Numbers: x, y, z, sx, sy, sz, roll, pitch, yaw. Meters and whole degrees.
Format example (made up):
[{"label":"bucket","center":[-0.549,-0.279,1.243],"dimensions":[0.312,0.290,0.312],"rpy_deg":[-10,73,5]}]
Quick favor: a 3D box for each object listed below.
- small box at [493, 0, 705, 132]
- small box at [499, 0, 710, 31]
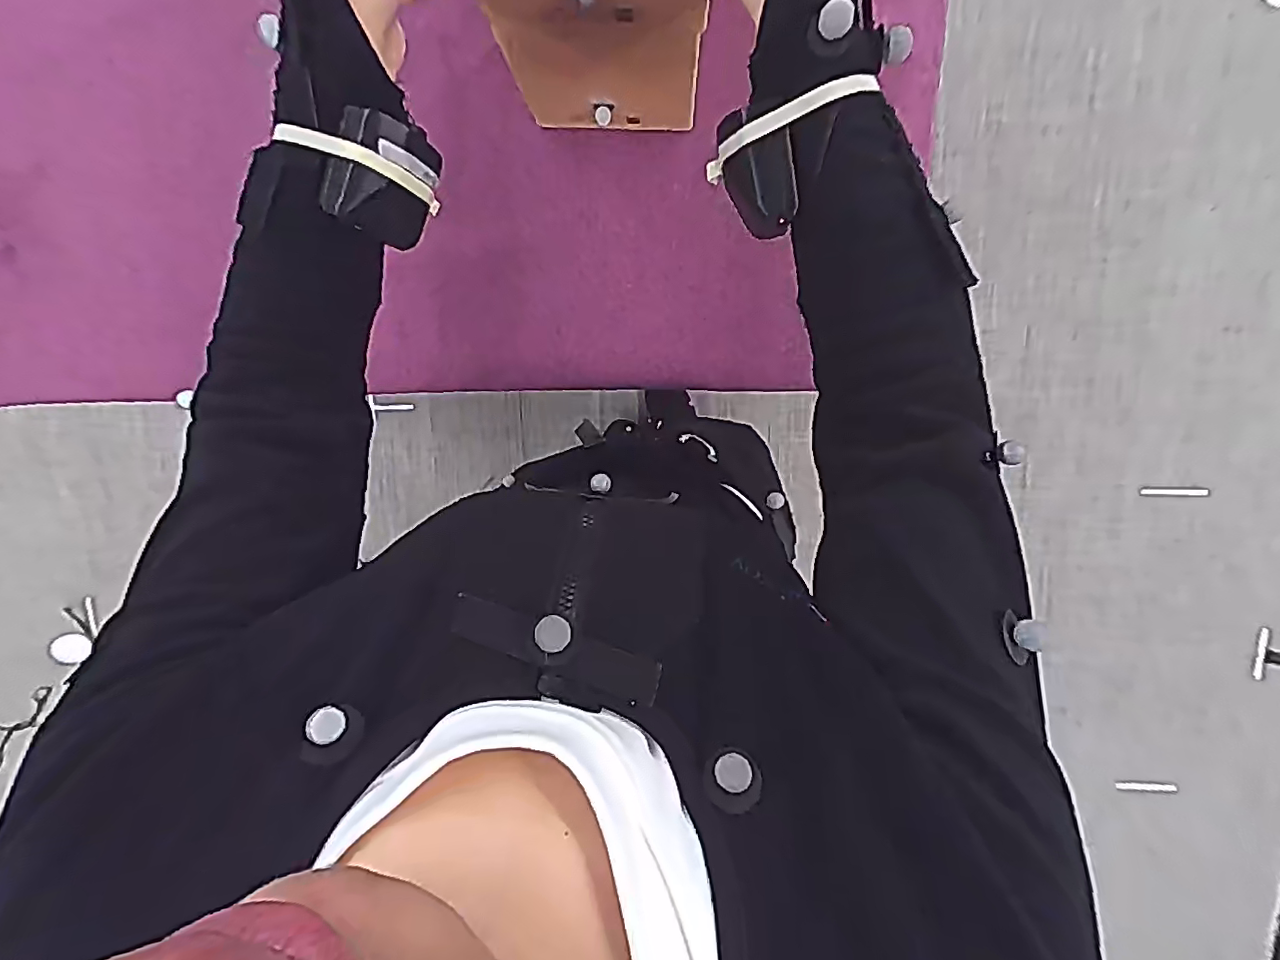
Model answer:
[{"label":"small box","center":[-0.024,-0.447,0.481],"dimensions":[0.168,0.176,0.179],"rpy_deg":[4,100,3]},{"label":"small box","center":[-0.029,-0.418,0.318],"dimensions":[0.168,0.176,0.179],"rpy_deg":[4,99,3]}]
